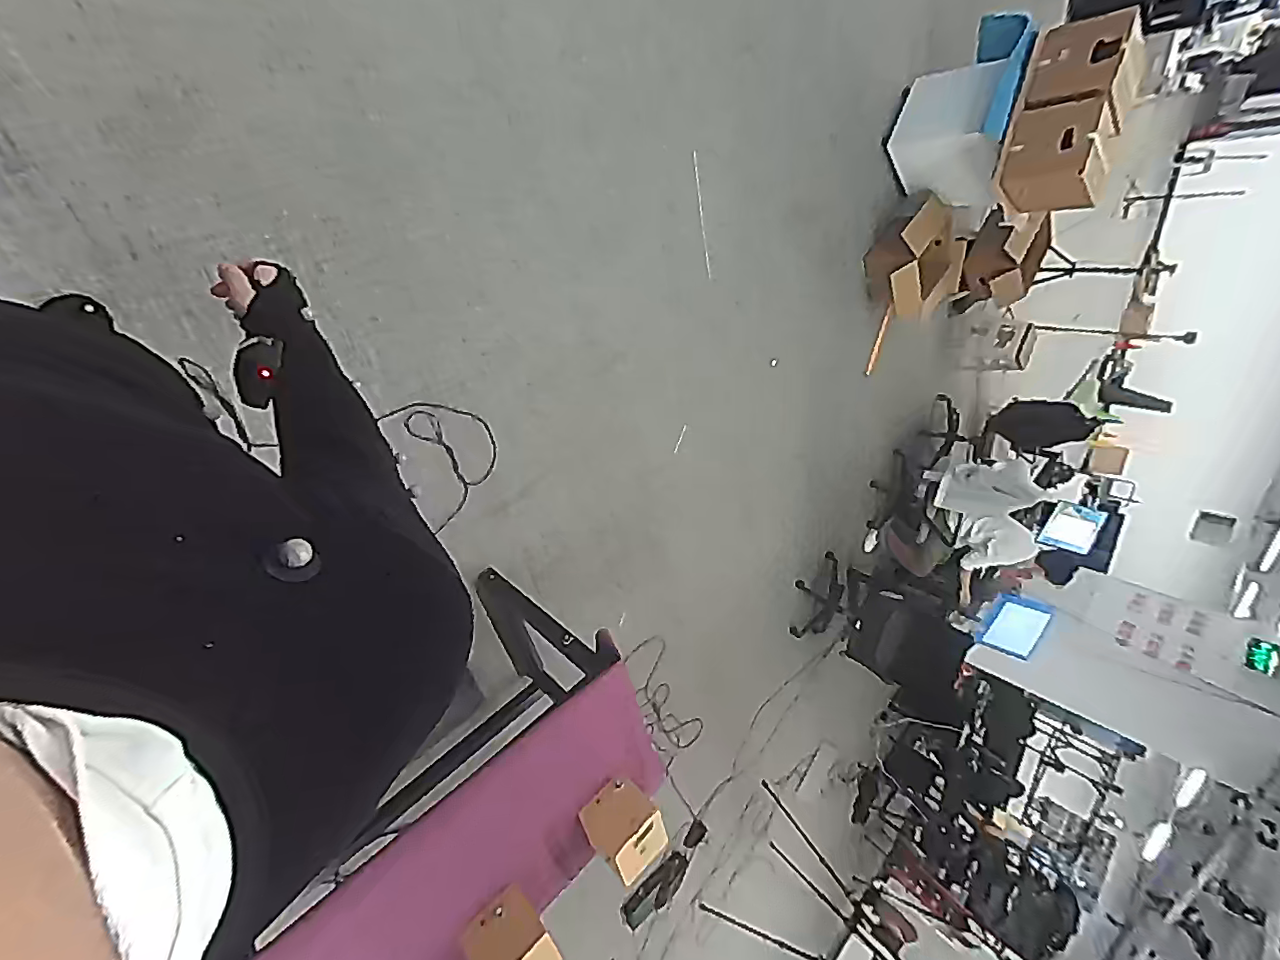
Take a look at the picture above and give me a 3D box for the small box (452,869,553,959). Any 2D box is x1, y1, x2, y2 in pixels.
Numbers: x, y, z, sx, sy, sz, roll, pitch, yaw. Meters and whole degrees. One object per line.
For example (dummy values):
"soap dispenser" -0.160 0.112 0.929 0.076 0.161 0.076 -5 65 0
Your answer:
"small box" -0.352 1.154 1.386 0.168 0.176 0.179 -32 126 -33

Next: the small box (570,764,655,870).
"small box" -0.081 0.968 1.573 0.168 0.176 0.179 -32 127 -31
